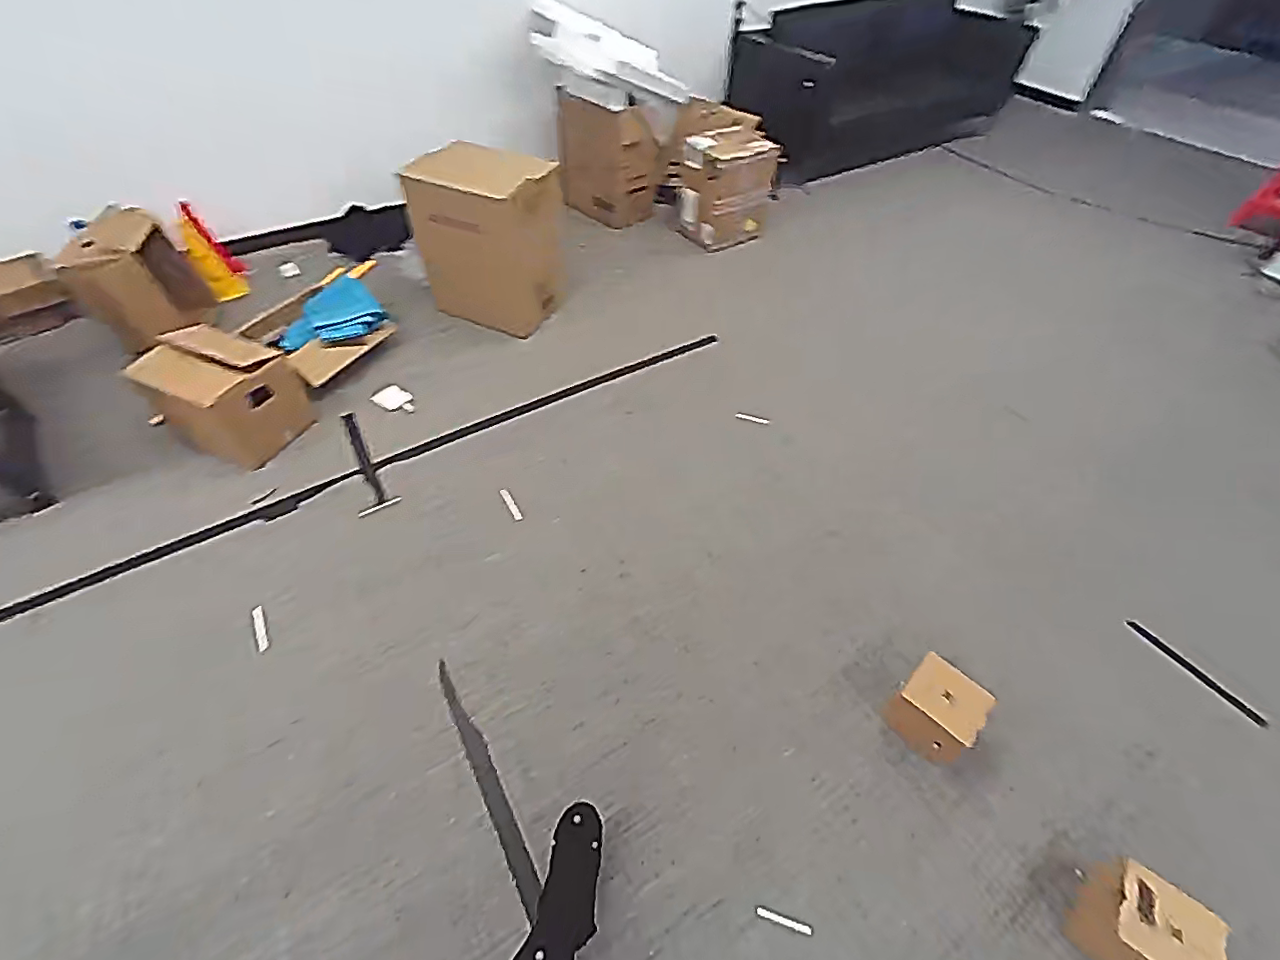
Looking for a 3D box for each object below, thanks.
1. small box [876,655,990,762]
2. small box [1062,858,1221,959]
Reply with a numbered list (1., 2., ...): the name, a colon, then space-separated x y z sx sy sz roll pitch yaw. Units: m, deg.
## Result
1. small box: 0.750 0.598 1.398 0.179 0.176 0.168 36 56 27
2. small box: 1.026 0.933 1.117 0.179 0.176 0.168 33 56 23
